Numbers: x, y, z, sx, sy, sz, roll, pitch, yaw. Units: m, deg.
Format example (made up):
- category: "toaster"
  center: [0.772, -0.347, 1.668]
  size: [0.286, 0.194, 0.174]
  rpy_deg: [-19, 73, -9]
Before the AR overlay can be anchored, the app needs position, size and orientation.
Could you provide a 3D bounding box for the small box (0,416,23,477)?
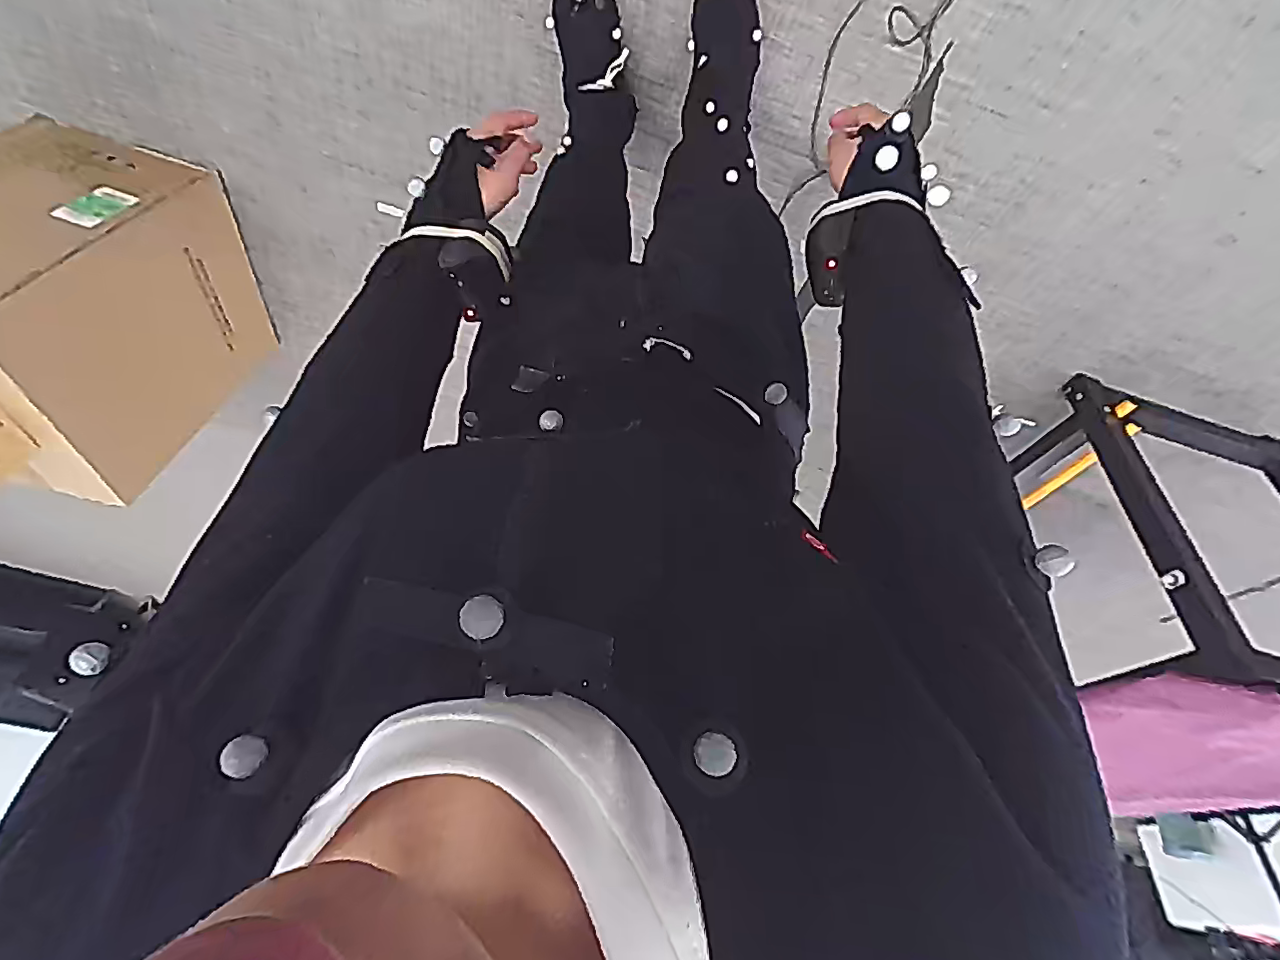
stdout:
- category: "small box"
  center: [-1.277, -0.069, 0.956]
  size: [0.179, 0.176, 0.168]
  rpy_deg: [18, 141, -7]
